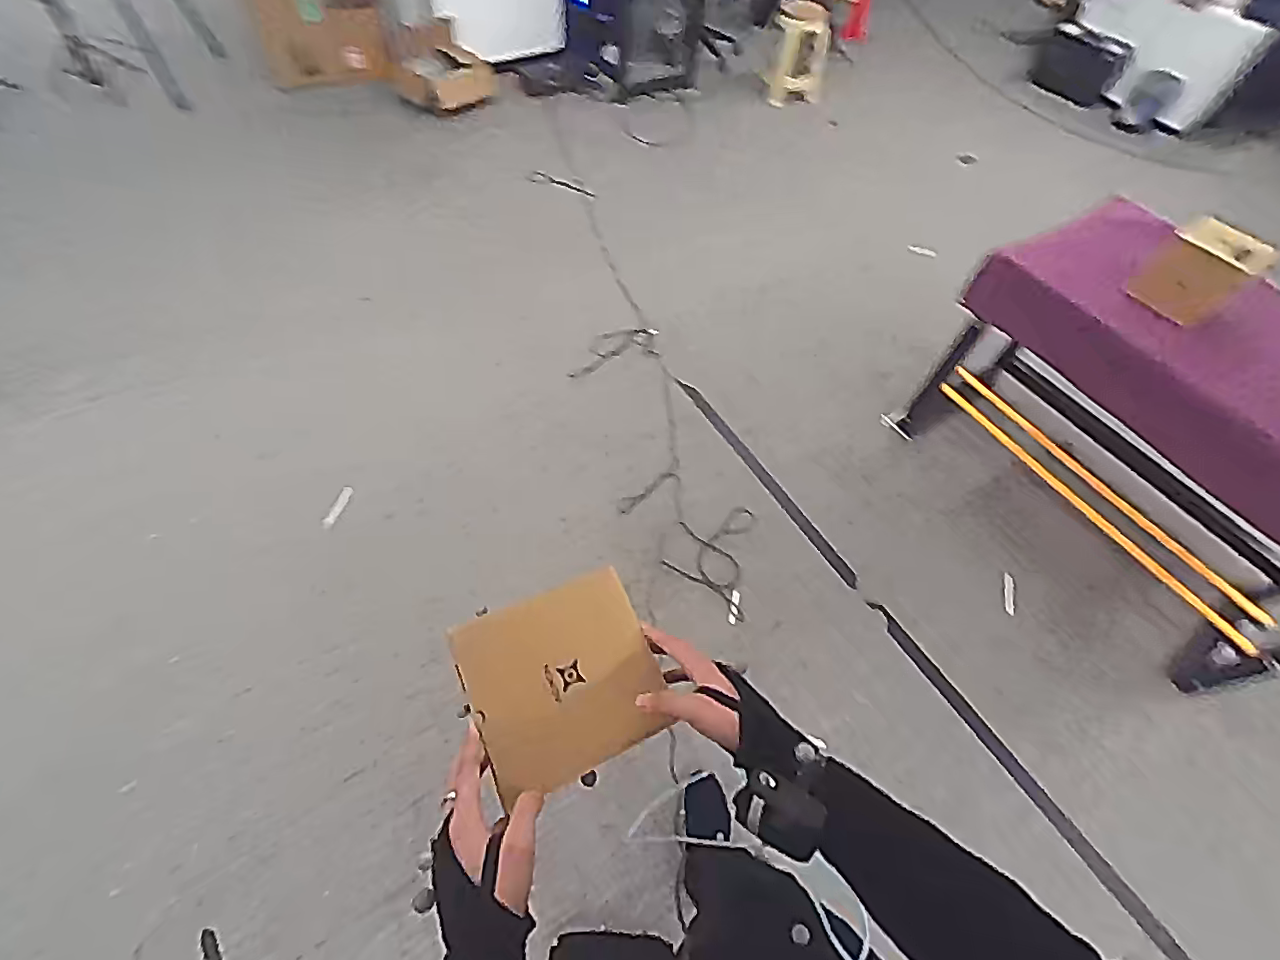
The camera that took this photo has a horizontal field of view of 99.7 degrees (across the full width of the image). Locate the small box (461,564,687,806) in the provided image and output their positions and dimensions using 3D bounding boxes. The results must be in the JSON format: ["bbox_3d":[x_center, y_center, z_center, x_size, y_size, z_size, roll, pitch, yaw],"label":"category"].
[{"bbox_3d":[-0.082,0.211,0.580,0.179,0.176,0.168,-19,74,-23],"label":"small box"}]
